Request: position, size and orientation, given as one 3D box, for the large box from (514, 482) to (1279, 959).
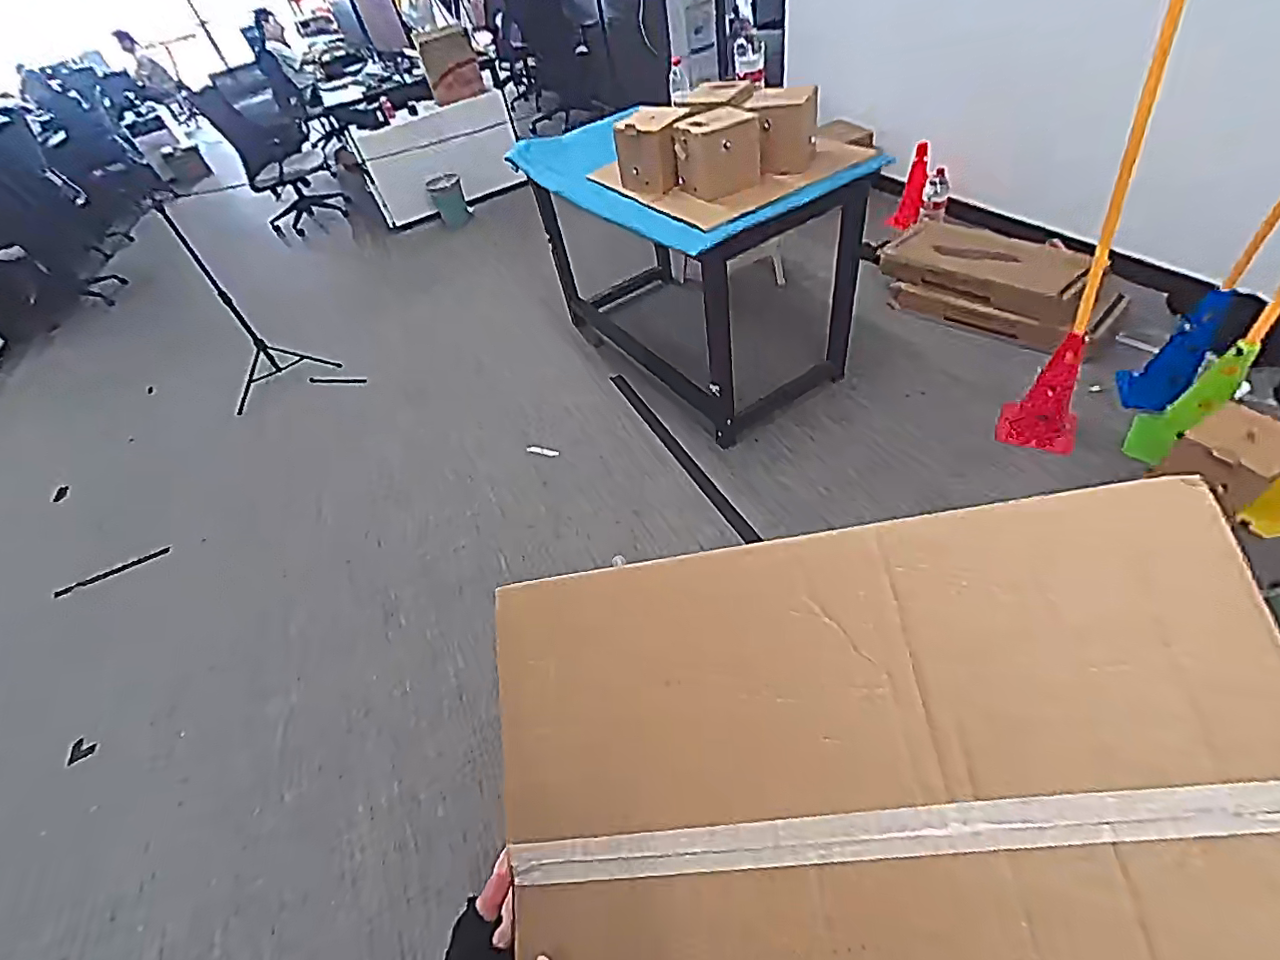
[{"bbox_3d":[0.157,0.225,0.425,0.408,0.320,0.320,-11,72,10],"label":"large box"}]
